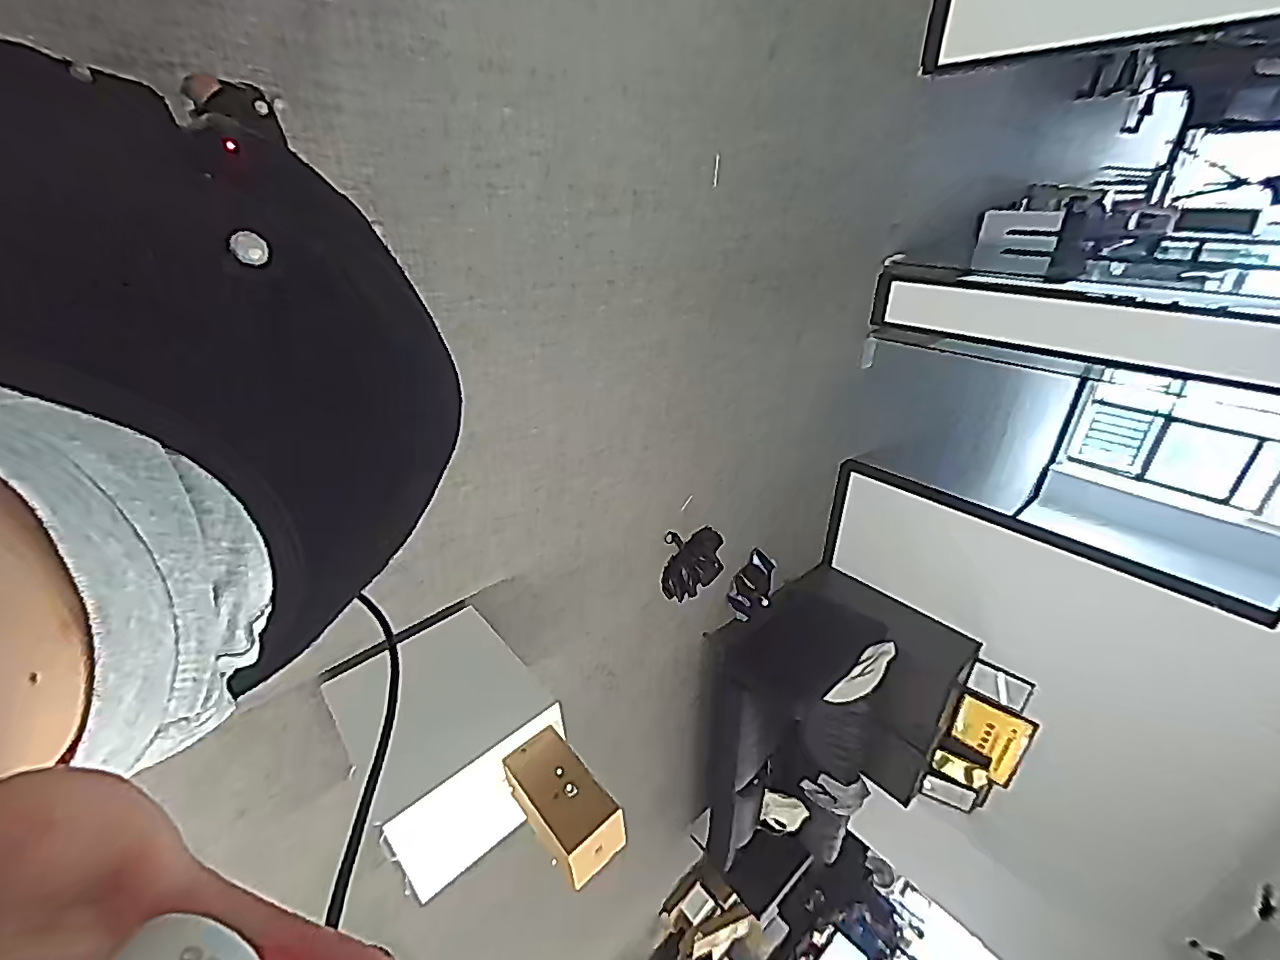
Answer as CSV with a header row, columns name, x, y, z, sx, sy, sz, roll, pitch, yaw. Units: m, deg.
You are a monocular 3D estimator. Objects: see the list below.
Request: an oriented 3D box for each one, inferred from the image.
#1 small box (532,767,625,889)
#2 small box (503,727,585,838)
name,x,y,z,sx,sy,sz,roll,pitch,yaw
small box,-0.160,0.896,1.406,0.168,0.176,0.179,-28,128,-33
small box,-0.265,0.841,1.518,0.168,0.176,0.179,-26,129,-33
